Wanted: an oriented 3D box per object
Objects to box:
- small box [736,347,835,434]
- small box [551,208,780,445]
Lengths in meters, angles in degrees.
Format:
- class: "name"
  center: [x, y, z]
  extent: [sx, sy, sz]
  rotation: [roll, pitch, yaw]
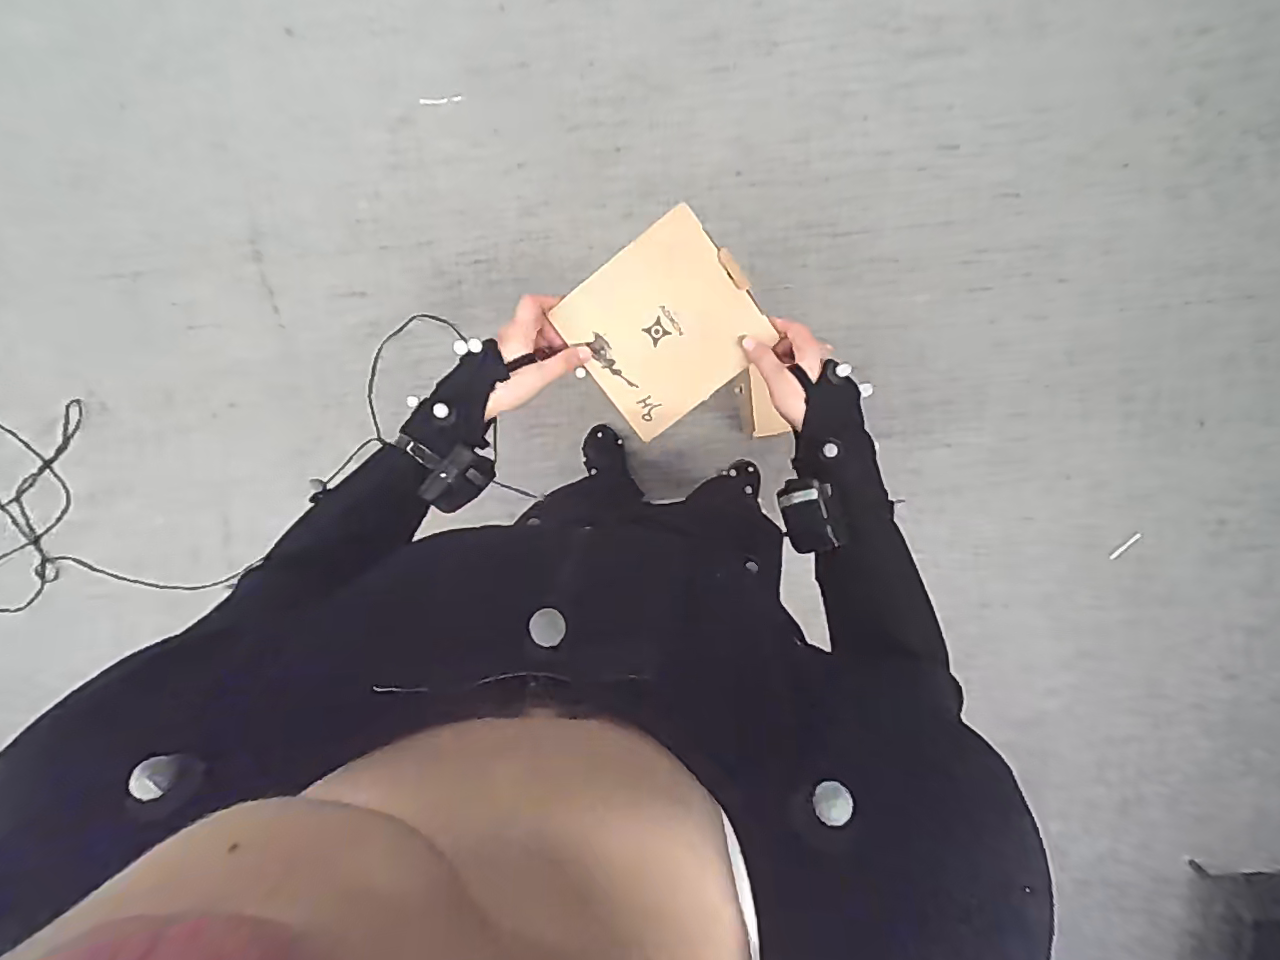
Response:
- class: "small box"
  center: [0.316, -0.196, 1.201]
  extent: [0.179, 0.176, 0.168]
  rotation: [-7, 97, 3]
- class: "small box"
  center: [0.024, -0.165, 0.615]
  extent: [0.179, 0.176, 0.168]
  rotation: [-37, 99, 6]
